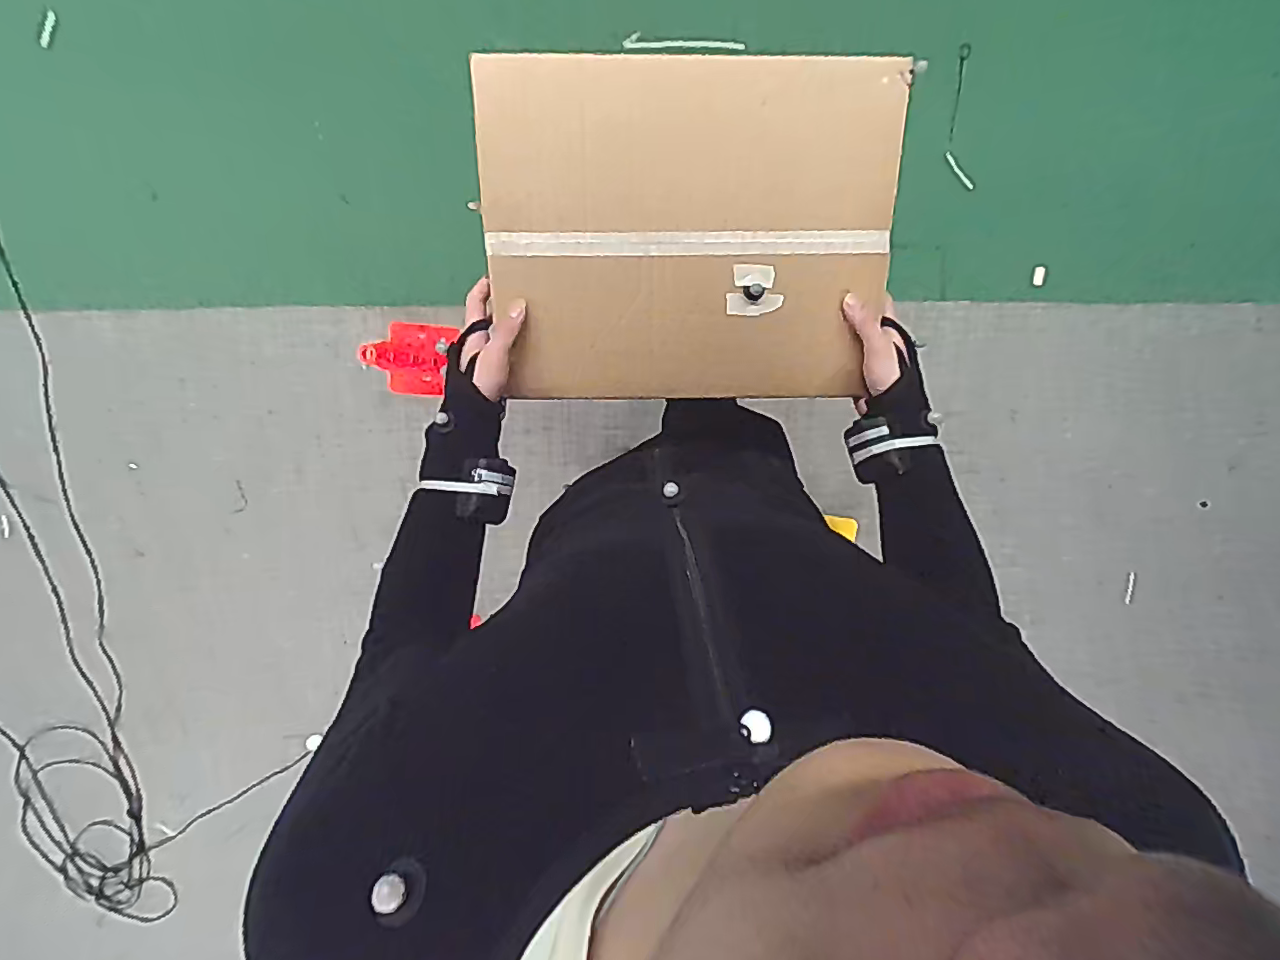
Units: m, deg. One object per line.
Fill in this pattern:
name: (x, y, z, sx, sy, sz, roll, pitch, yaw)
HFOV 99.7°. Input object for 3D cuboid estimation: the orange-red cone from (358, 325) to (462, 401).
orange-red cone: (-0.609, -0.302, 1.365, 0.199, 0.360, 0.198, 7, 99, -1)

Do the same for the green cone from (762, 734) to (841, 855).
green cone: (0.520, 0.971, 1.634, 0.200, 0.368, 0.202, 5, 99, -3)

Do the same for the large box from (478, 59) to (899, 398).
large box: (0.044, -0.290, 0.691, 0.408, 0.320, 0.320, -1, 109, -2)
